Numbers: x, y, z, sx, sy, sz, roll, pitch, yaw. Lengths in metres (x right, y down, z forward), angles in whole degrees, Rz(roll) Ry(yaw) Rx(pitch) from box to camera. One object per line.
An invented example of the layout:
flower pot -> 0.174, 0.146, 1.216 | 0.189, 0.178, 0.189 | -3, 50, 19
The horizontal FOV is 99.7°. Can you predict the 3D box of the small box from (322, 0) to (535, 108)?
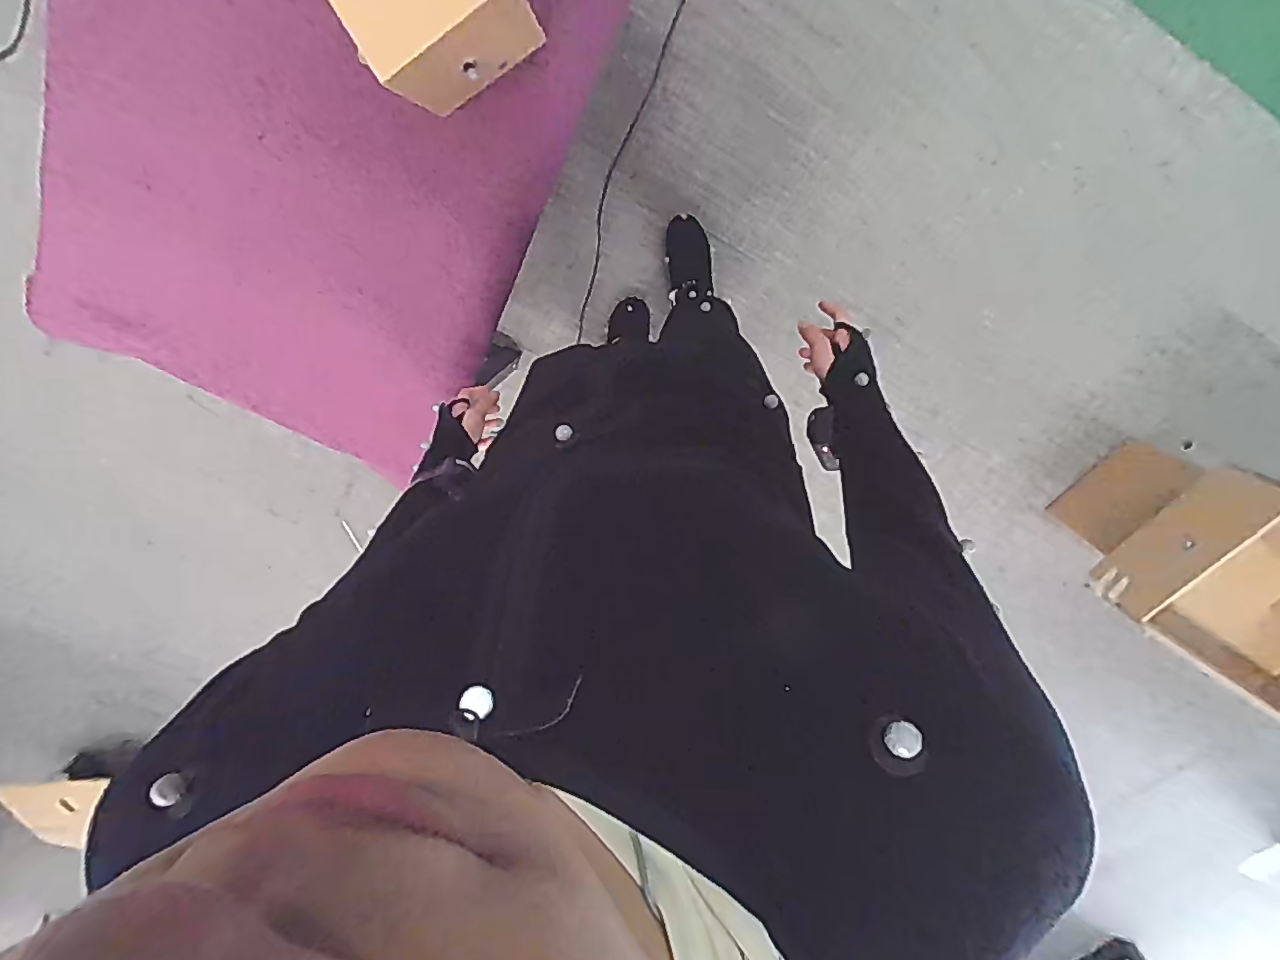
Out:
small box -> -0.234, -0.534, 0.576 | 0.168, 0.176, 0.179 | -27, 110, 13
